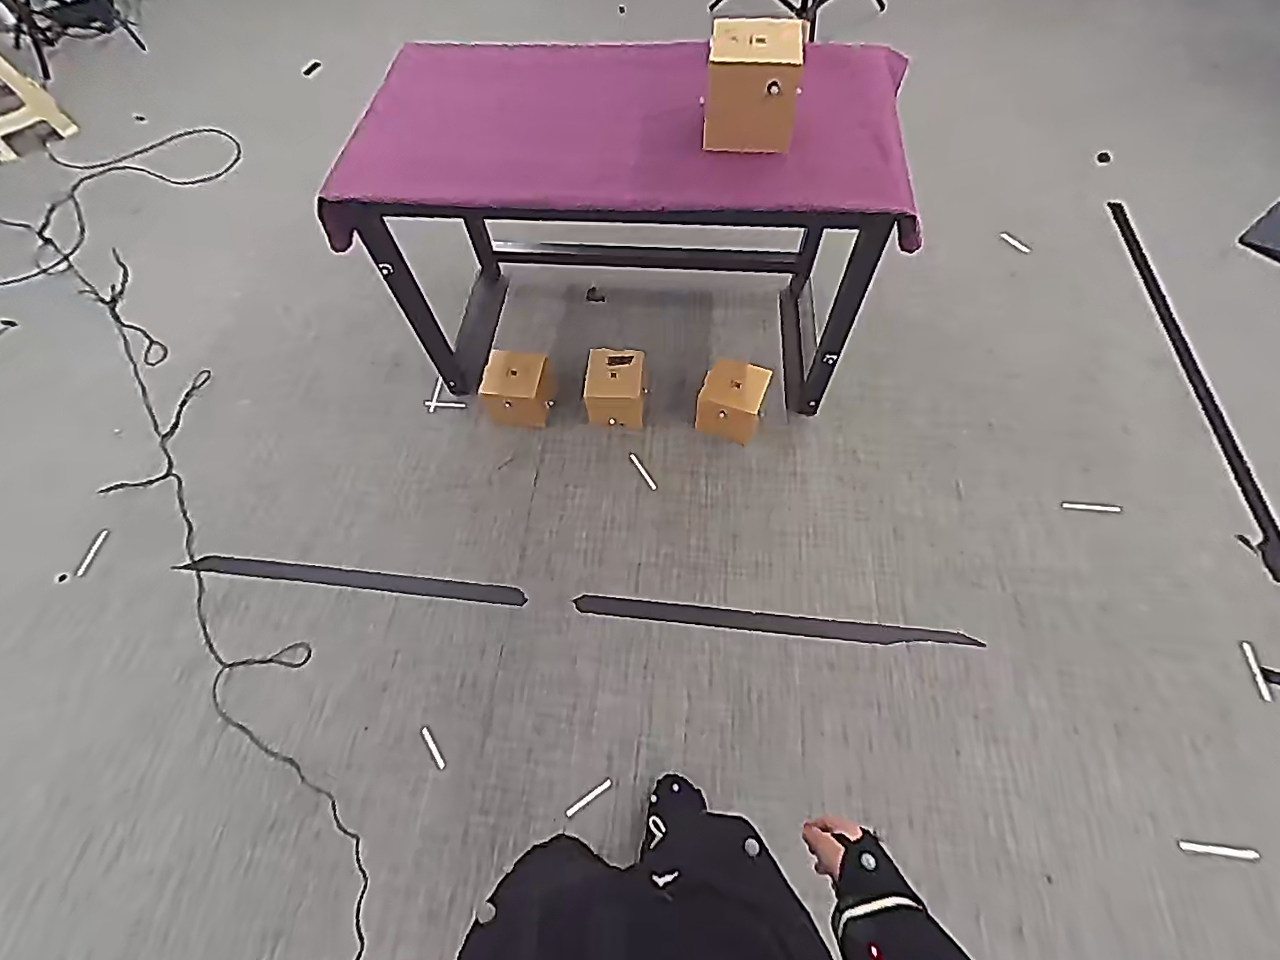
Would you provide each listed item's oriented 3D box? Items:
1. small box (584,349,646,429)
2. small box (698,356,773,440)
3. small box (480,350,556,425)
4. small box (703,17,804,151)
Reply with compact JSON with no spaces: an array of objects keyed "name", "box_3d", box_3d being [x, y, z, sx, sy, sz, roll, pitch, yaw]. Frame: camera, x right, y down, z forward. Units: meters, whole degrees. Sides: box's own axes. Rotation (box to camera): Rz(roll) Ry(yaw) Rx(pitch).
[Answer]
[{"name":"small box","box_3d":[-0.071,-0.280,1.670,0.168,0.176,0.179,3,64,5]},{"name":"small box","box_3d":[0.283,-0.241,1.633,0.179,0.176,0.168,19,66,14]},{"name":"small box","box_3d":[-0.375,-0.285,1.690,0.179,0.176,0.168,5,65,5]},{"name":"small box","box_3d":[0.227,-0.800,1.101,0.179,0.176,0.168,5,62,6]}]
